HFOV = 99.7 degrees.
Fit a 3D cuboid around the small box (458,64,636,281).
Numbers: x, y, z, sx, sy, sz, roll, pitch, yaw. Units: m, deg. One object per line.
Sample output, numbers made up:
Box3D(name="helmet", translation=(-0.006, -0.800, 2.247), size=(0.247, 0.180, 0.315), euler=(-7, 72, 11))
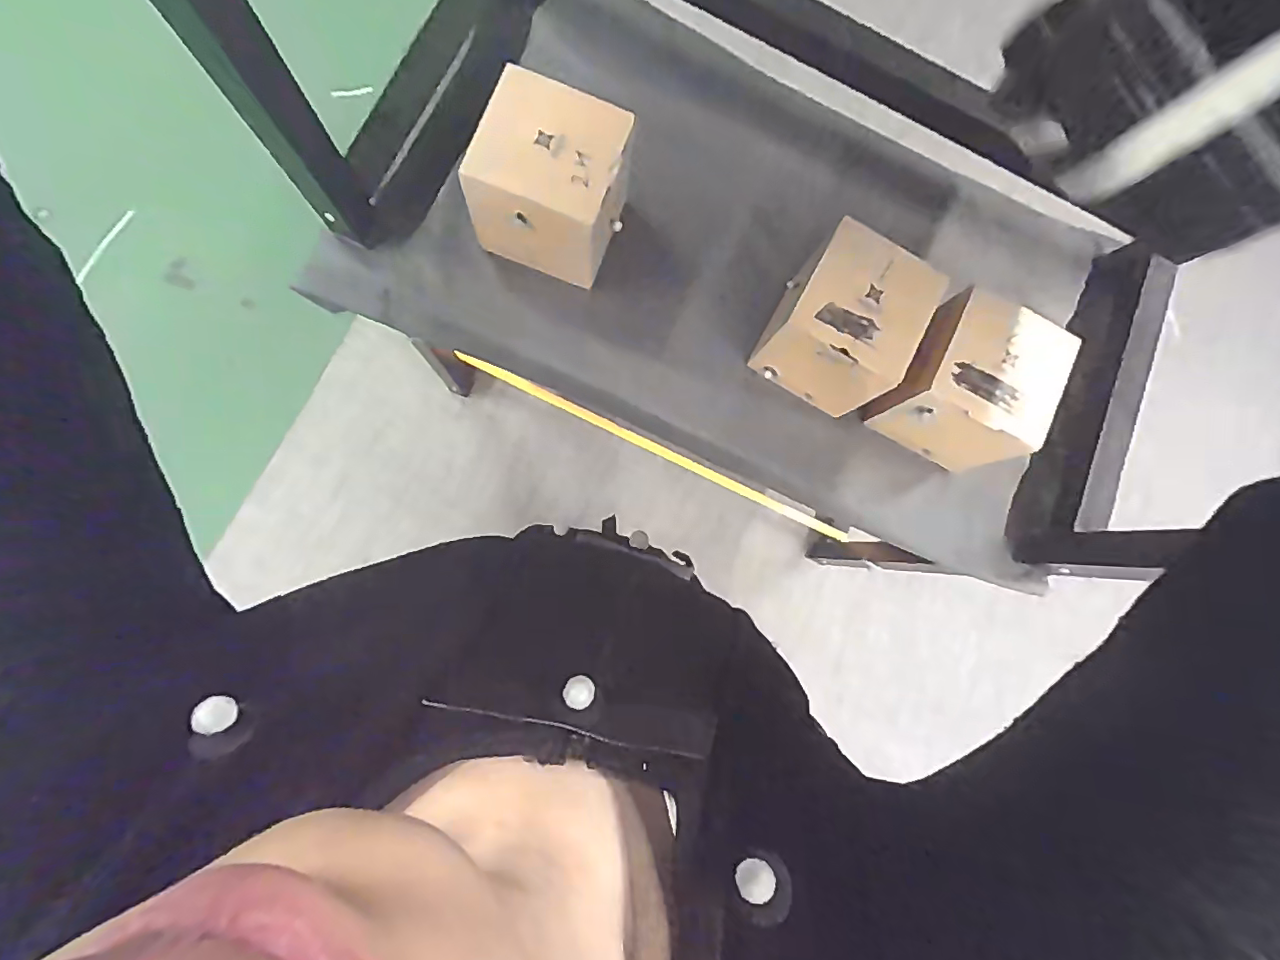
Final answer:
Box3D(name="small box", translation=(-0.122, -0.406, 0.746), size=(0.179, 0.176, 0.168), euler=(21, 82, -4))
